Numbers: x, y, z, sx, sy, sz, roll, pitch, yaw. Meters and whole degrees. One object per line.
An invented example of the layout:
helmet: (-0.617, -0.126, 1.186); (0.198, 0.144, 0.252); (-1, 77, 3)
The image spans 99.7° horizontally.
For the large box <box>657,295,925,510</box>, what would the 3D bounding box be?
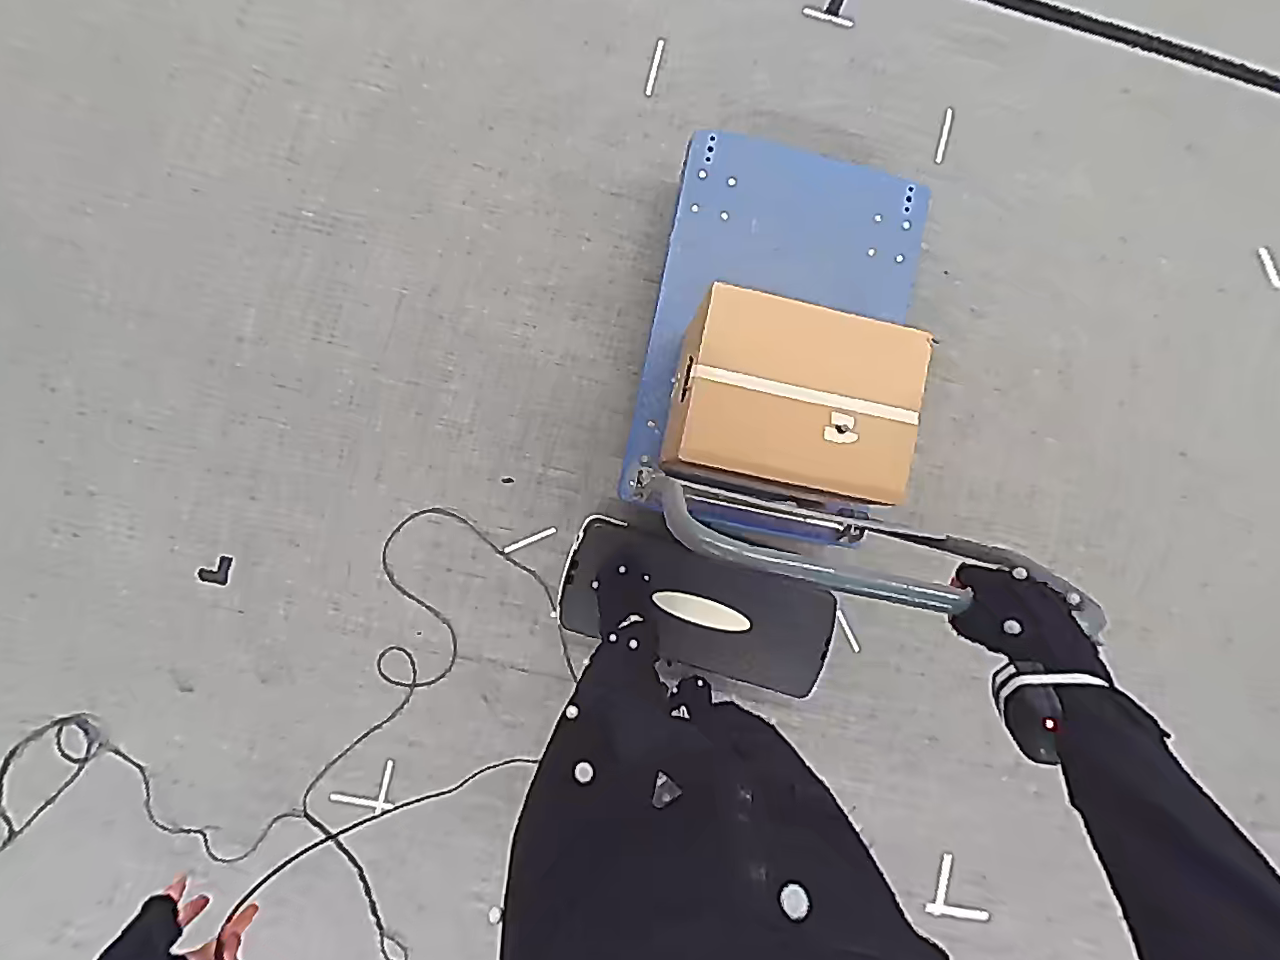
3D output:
large box: (0.267, -0.128, 1.075); (0.408, 0.320, 0.320); (11, 89, -5)
